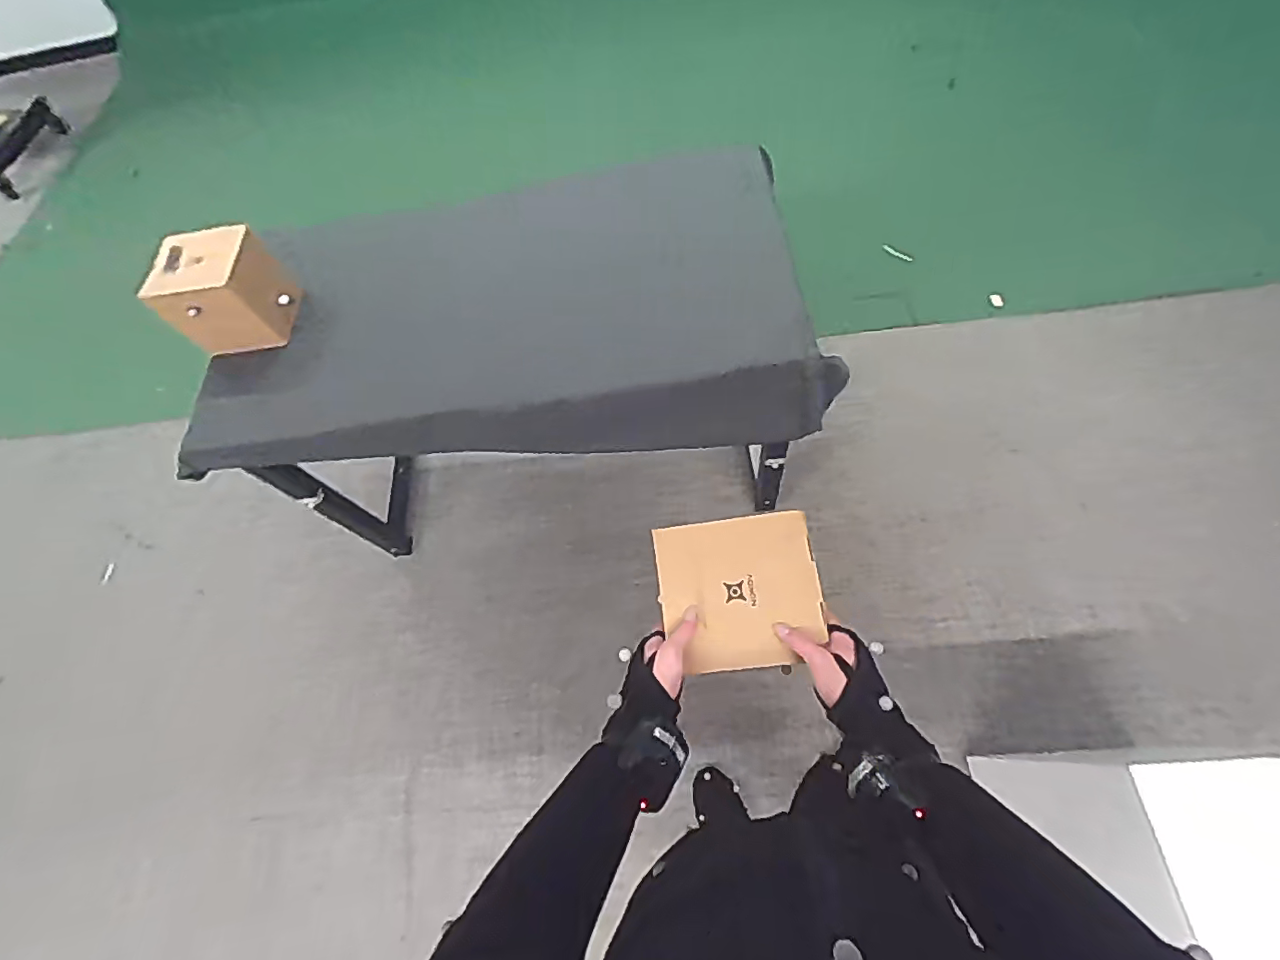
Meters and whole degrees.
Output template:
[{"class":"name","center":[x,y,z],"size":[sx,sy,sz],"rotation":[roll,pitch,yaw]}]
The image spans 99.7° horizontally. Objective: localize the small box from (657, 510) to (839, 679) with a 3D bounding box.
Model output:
[{"class":"small box","center":[0.124,0.144,0.665],"size":[0.179,0.176,0.168],"rotation":[-10,73,6]}]

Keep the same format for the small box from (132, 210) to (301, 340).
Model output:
[{"class":"small box","center":[-0.819,-0.396,1.066],"size":[0.179,0.176,0.168],"rotation":[-5,64,3]}]
